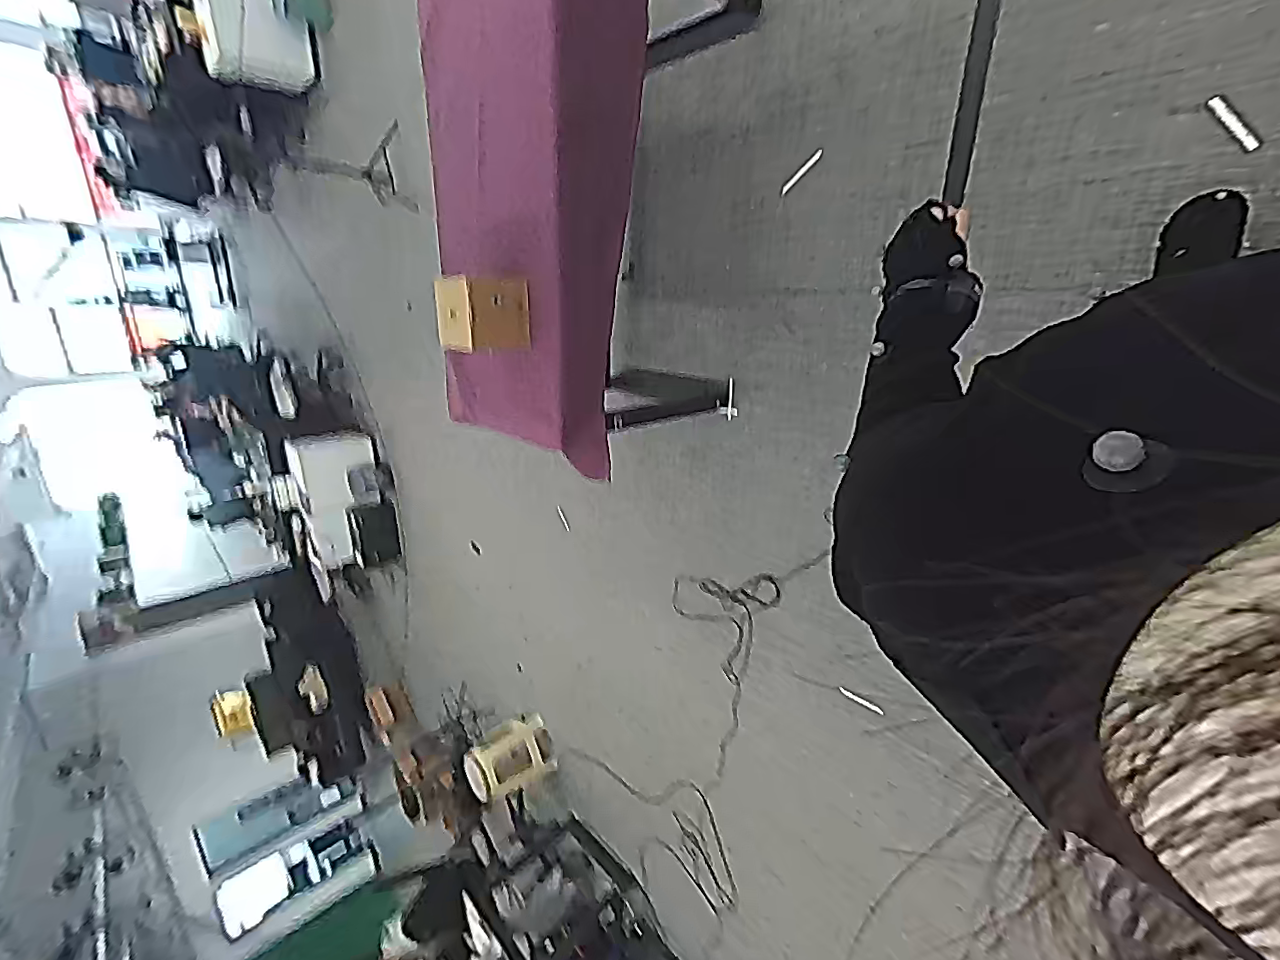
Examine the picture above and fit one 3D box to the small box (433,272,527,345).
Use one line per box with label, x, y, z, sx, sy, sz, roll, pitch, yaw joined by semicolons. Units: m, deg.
small box;-0.399;-0.438;1.371;0.179;0.176;0.168;20;116;43
